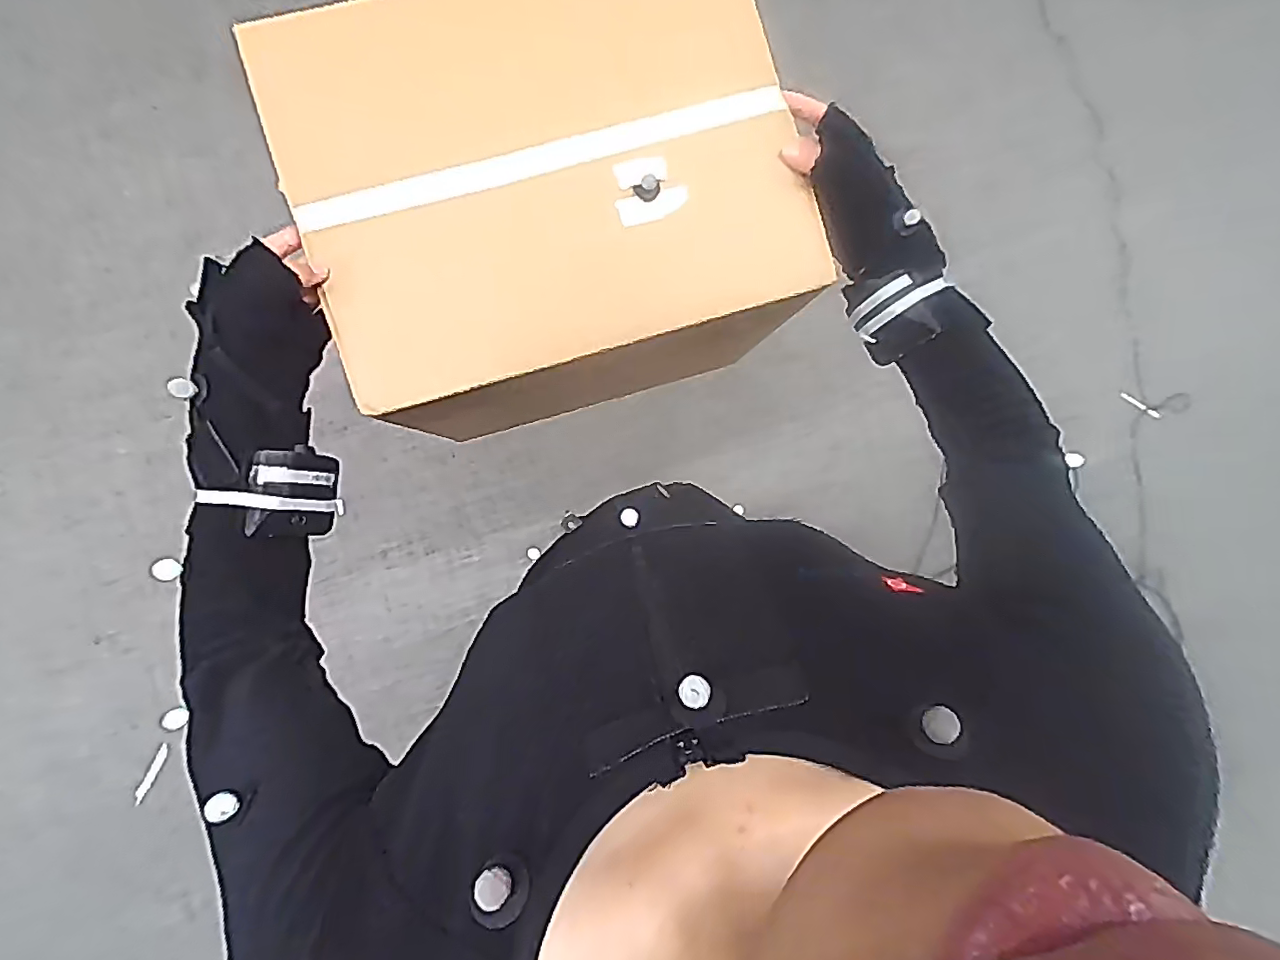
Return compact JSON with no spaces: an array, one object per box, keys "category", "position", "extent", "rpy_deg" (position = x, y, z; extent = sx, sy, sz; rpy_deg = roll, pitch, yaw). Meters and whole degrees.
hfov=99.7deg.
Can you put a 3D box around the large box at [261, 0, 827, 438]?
[{"category":"large box","position":[-0.084,-0.262,0.595],"extent":[0.408,0.320,0.320],"rpy_deg":[-18,92,-6]}]
